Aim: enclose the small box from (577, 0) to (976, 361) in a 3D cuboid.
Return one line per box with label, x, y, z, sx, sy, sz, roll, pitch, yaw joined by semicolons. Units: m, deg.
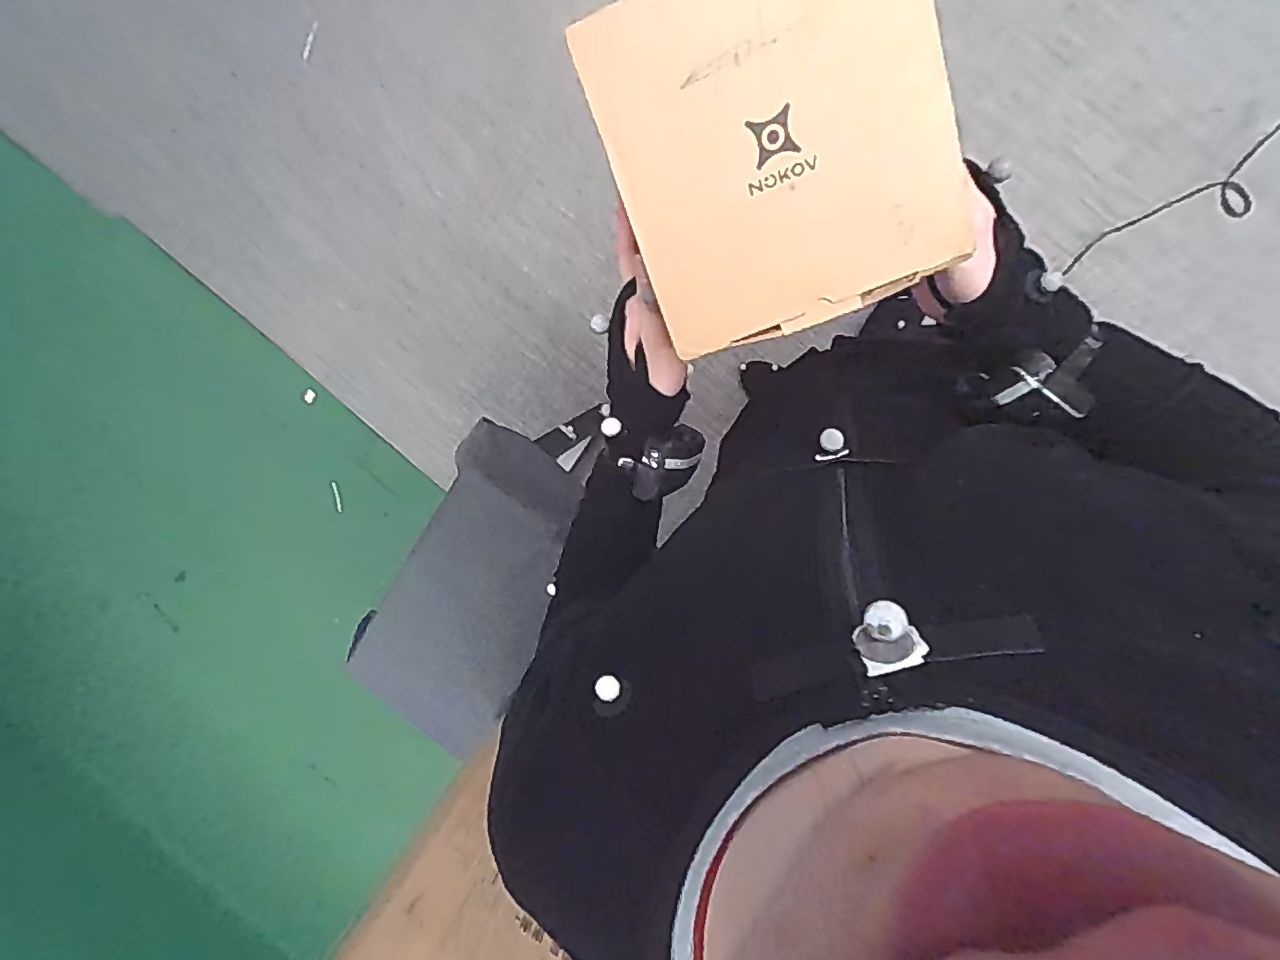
small box;0.081;-0.197;0.352;0.168;0.176;0.179;-19;106;12
